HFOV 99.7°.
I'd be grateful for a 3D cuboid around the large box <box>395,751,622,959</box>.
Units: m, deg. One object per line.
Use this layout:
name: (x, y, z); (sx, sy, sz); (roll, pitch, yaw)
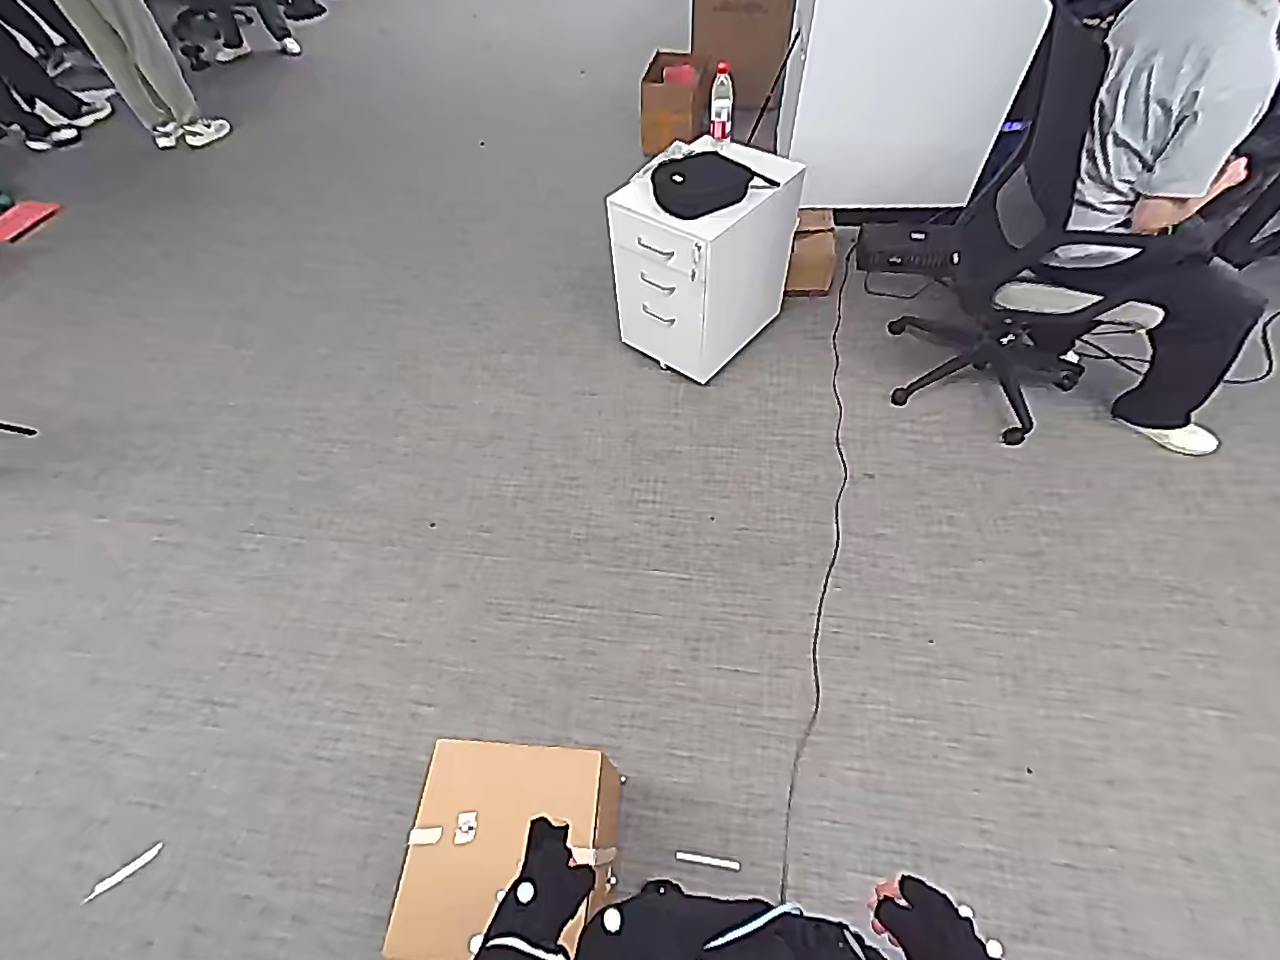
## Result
large box: (-0.214, 0.729, 1.060); (0.320, 0.408, 0.320); (3, 57, 5)
